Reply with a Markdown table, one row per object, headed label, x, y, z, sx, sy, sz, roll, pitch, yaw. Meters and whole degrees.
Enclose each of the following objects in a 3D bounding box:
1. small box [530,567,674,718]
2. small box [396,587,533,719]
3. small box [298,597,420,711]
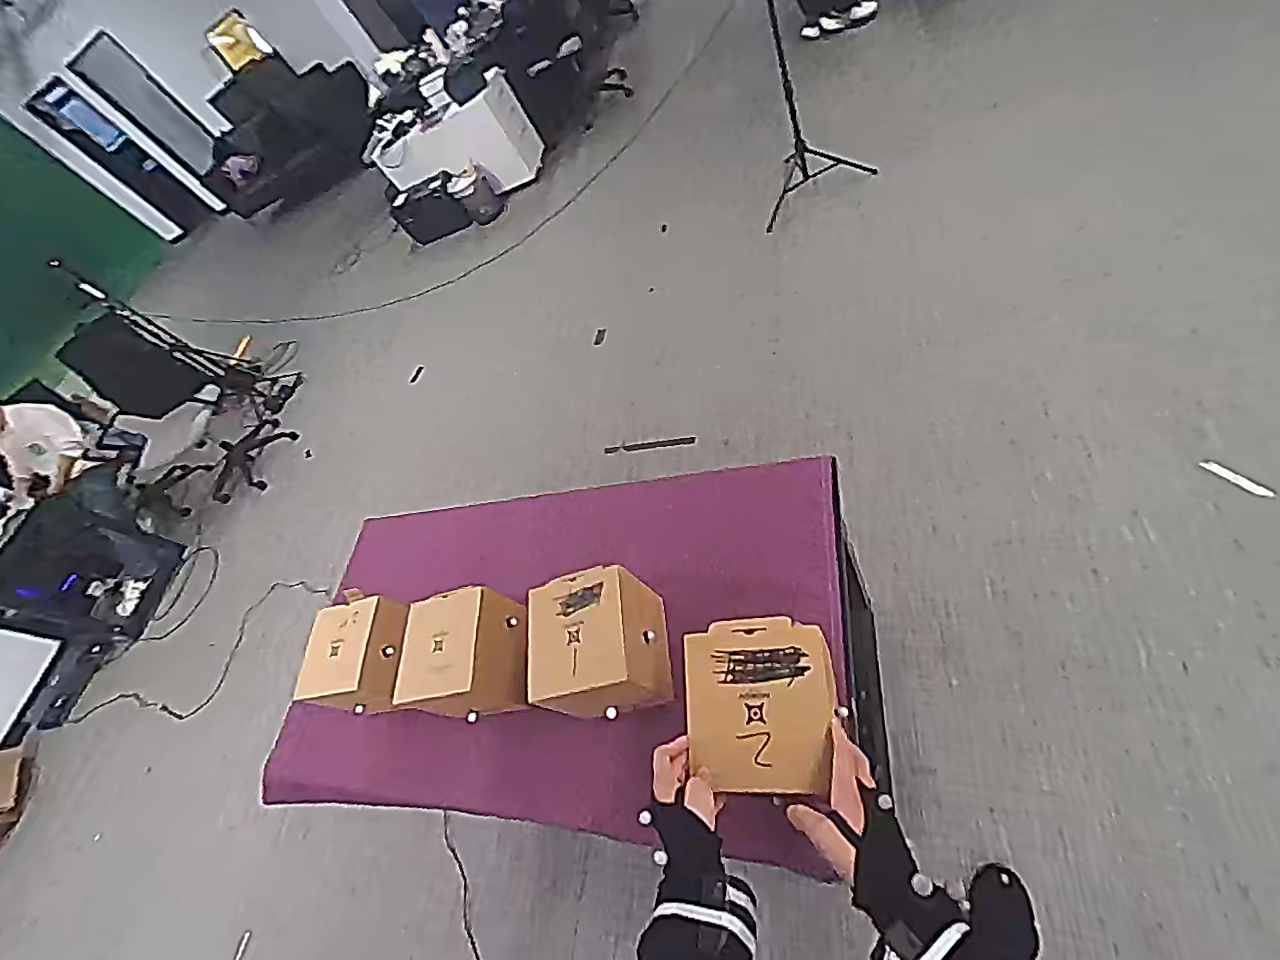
| label | x | y | z | sx | sy | sz | roll | pitch | yaw |
| --- | --- | --- | --- | --- | --- | --- | --- | --- | --- |
| small box | -0.057 | 0.265 | 0.864 | 0.168 | 0.176 | 0.179 | -19 | 54 | 18 |
| small box | -0.297 | 0.315 | 0.970 | 0.168 | 0.176 | 0.179 | -17 | 54 | 21 |
| small box | -0.525 | 0.353 | 1.073 | 0.168 | 0.176 | 0.179 | -15 | 54 | 20 |
